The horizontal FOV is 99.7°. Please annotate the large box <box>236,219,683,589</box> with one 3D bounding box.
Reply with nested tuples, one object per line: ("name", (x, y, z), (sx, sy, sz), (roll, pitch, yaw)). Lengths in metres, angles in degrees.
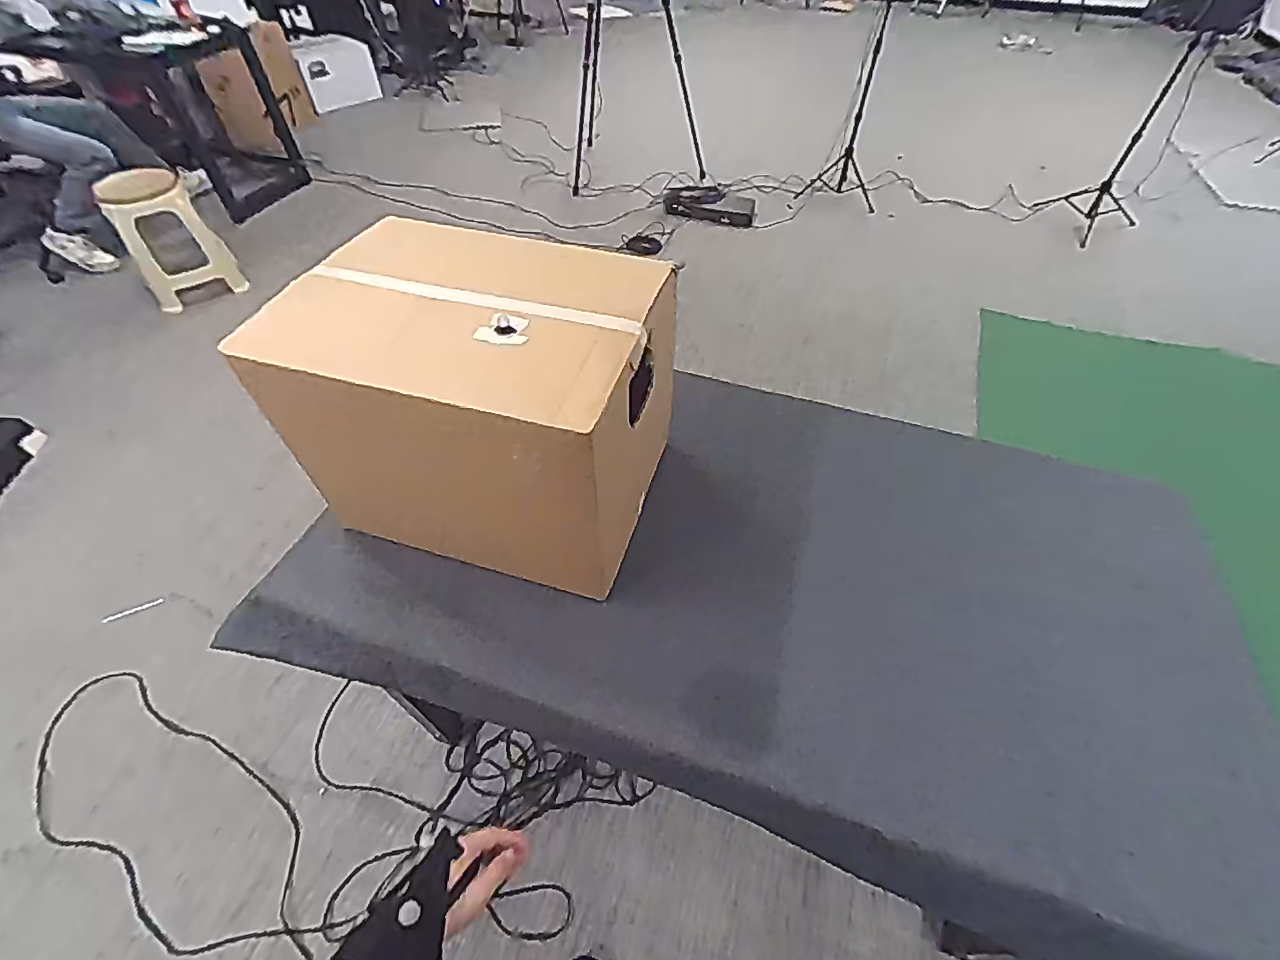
("large box", (-0.183, -0.102, 0.718), (0.408, 0.320, 0.320), (14, 52, 9))
